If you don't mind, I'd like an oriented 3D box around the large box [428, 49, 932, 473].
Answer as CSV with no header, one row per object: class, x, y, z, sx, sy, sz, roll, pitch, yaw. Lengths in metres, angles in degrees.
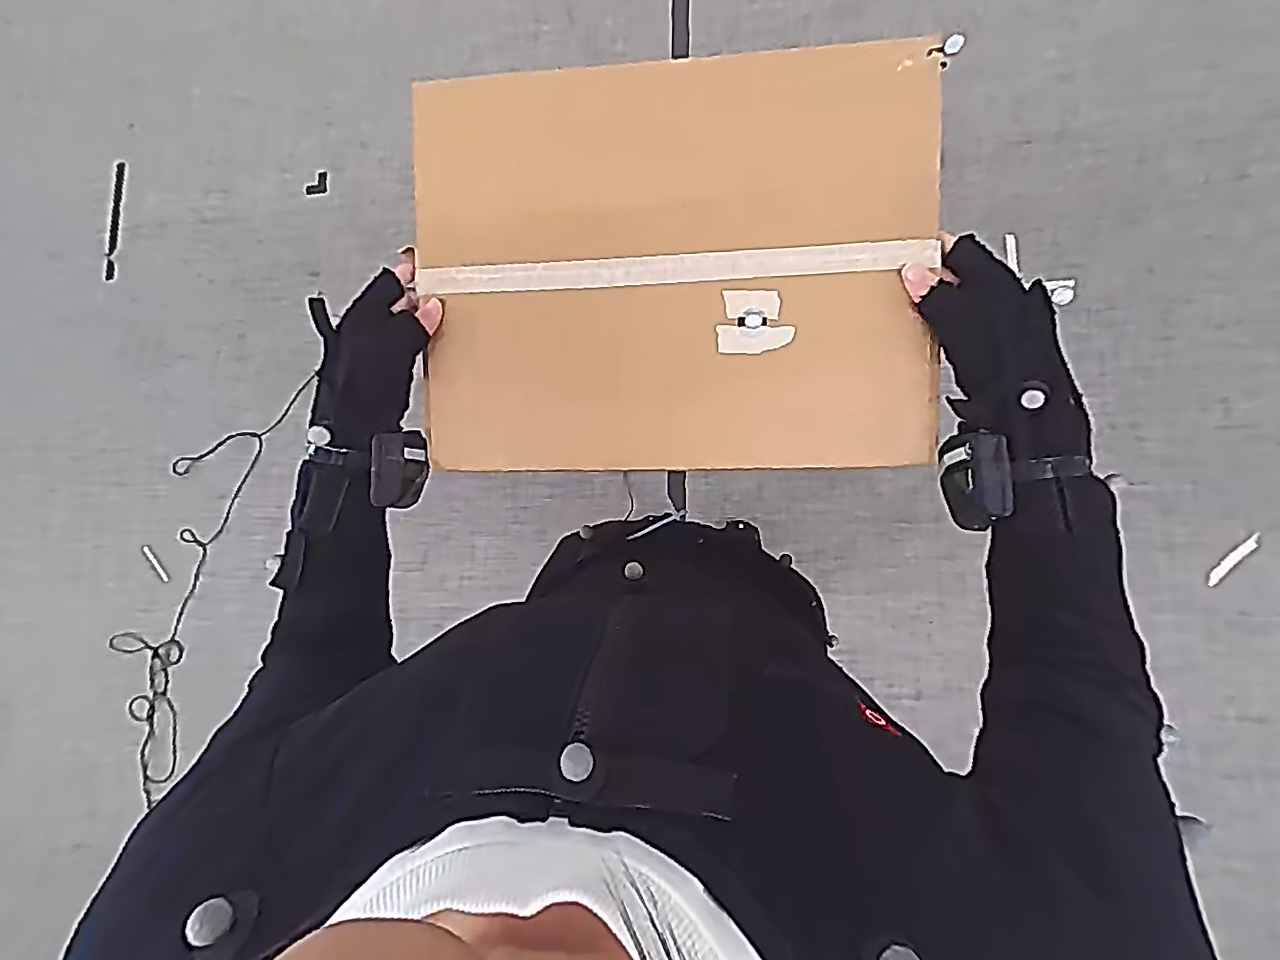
large box,0.039,-0.175,0.583,0.408,0.320,0.320,-1,94,6
